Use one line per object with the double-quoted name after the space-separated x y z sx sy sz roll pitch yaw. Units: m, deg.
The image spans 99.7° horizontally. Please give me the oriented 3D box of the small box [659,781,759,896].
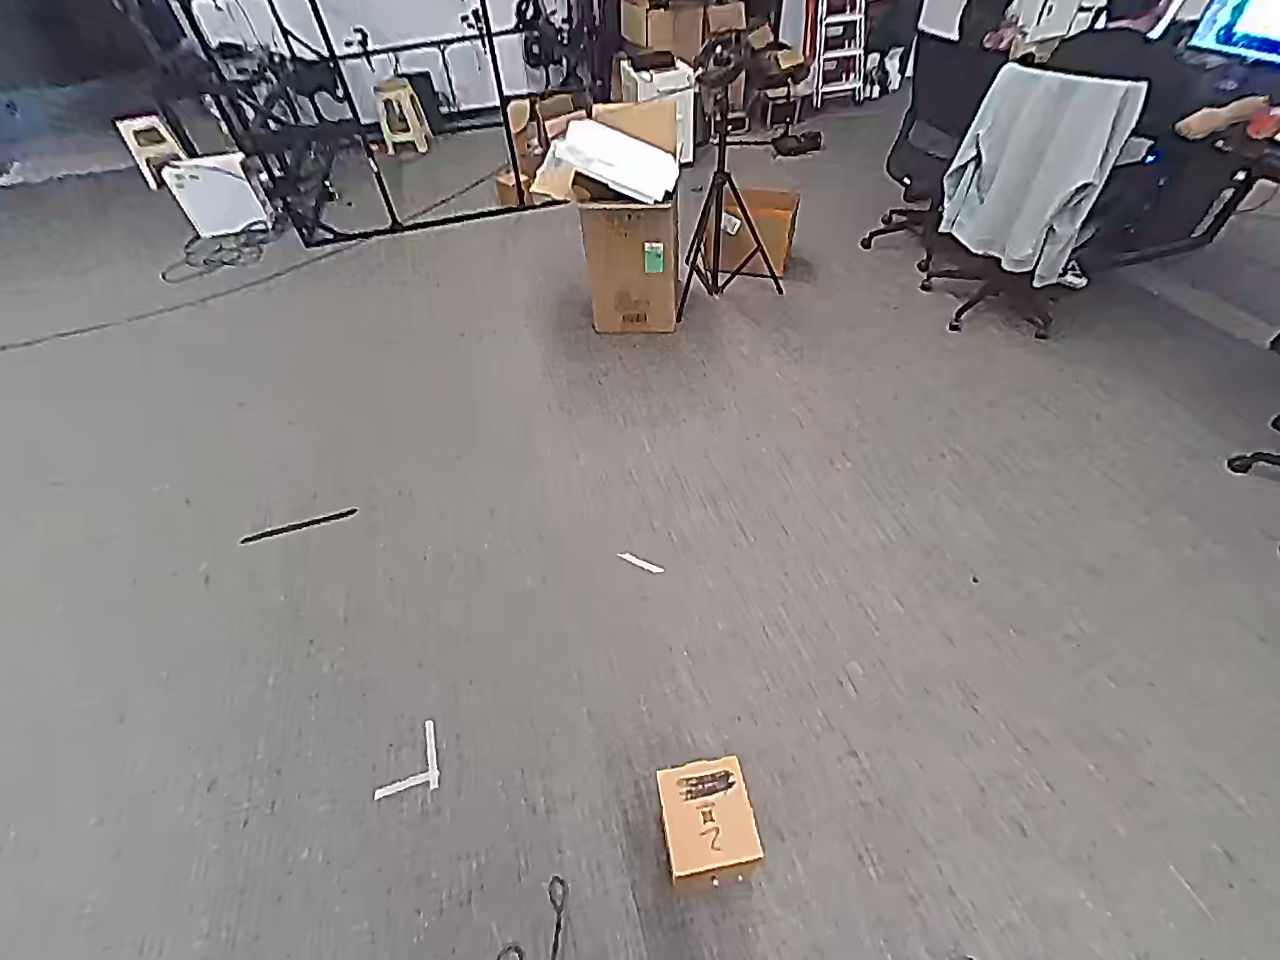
0.147 0.790 1.188 0.179 0.176 0.168 -10 47 -5 "small box"
